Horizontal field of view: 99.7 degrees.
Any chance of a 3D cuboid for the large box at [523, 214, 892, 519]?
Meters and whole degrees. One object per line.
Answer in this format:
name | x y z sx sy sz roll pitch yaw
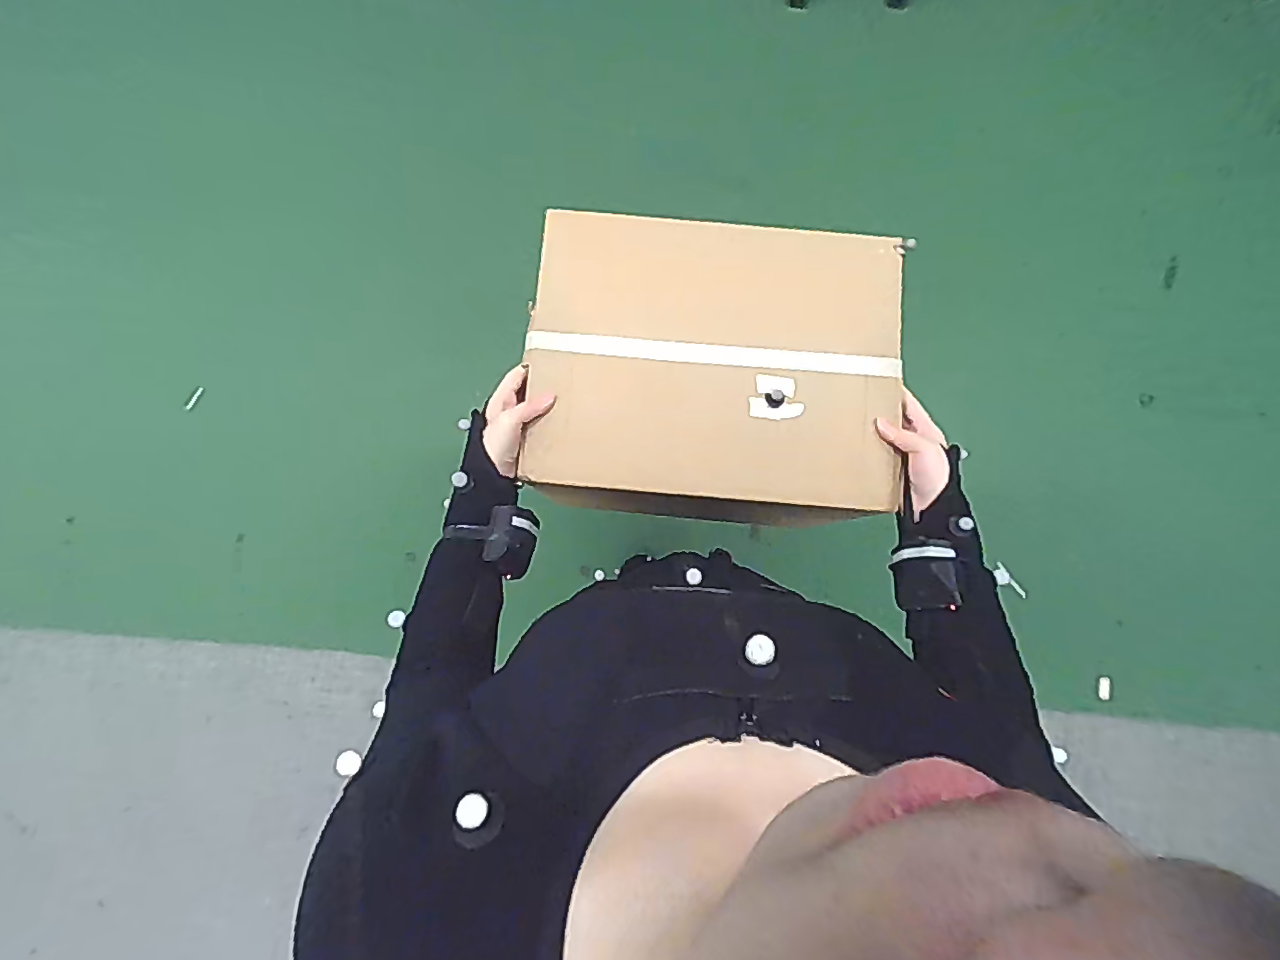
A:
large box | 0.075 -0.120 0.742 0.408 0.320 0.320 4 82 -1
